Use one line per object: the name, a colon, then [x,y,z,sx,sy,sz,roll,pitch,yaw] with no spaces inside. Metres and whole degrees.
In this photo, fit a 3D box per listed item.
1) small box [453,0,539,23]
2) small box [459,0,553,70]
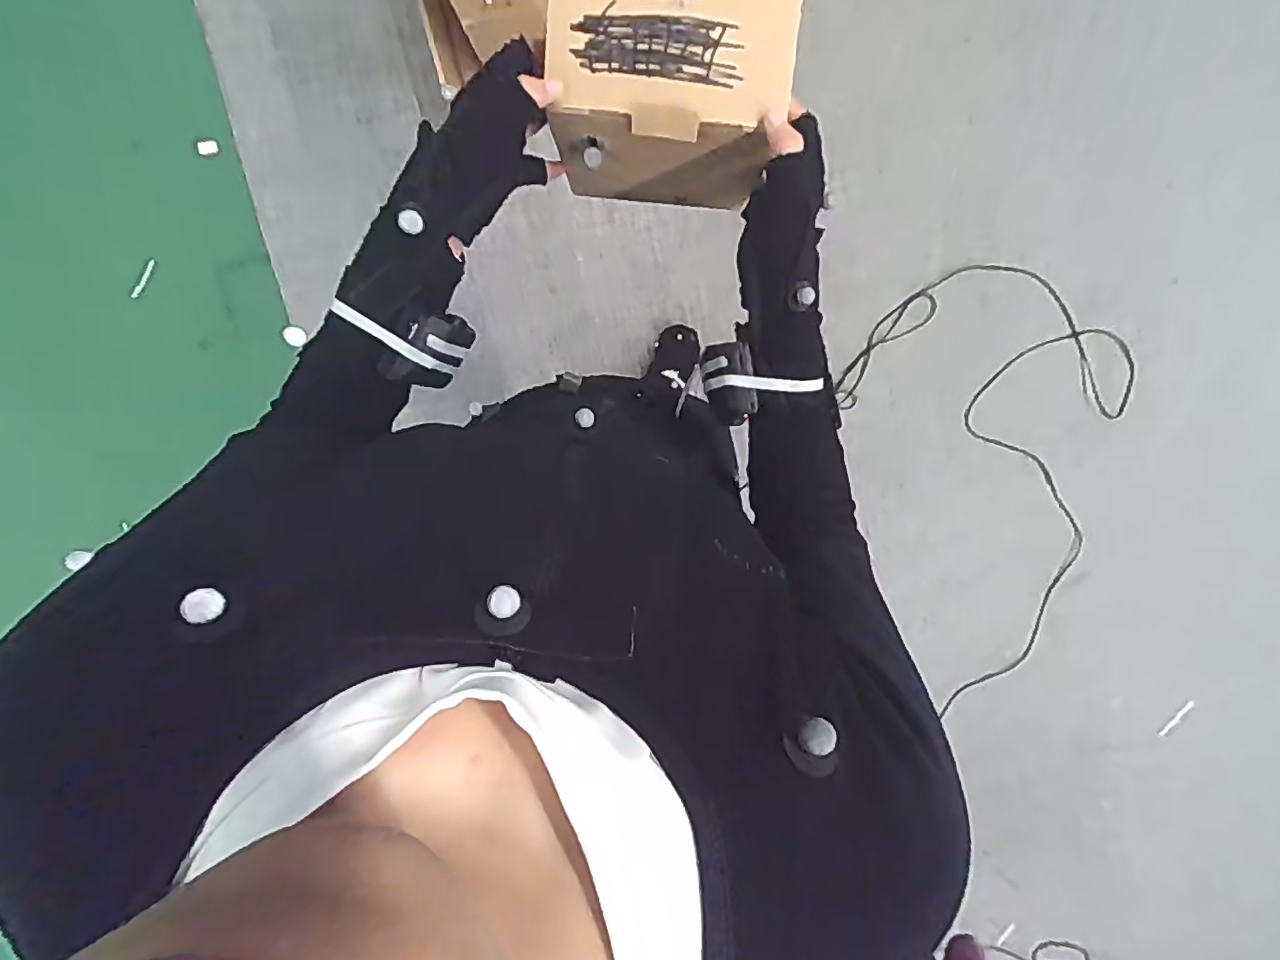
small box: [-0.291,-0.986,0.973,0.168,0.176,0.179,-12,100,2]
small box: [-0.290,-1.014,1.133,0.168,0.176,0.179,-11,100,3]
